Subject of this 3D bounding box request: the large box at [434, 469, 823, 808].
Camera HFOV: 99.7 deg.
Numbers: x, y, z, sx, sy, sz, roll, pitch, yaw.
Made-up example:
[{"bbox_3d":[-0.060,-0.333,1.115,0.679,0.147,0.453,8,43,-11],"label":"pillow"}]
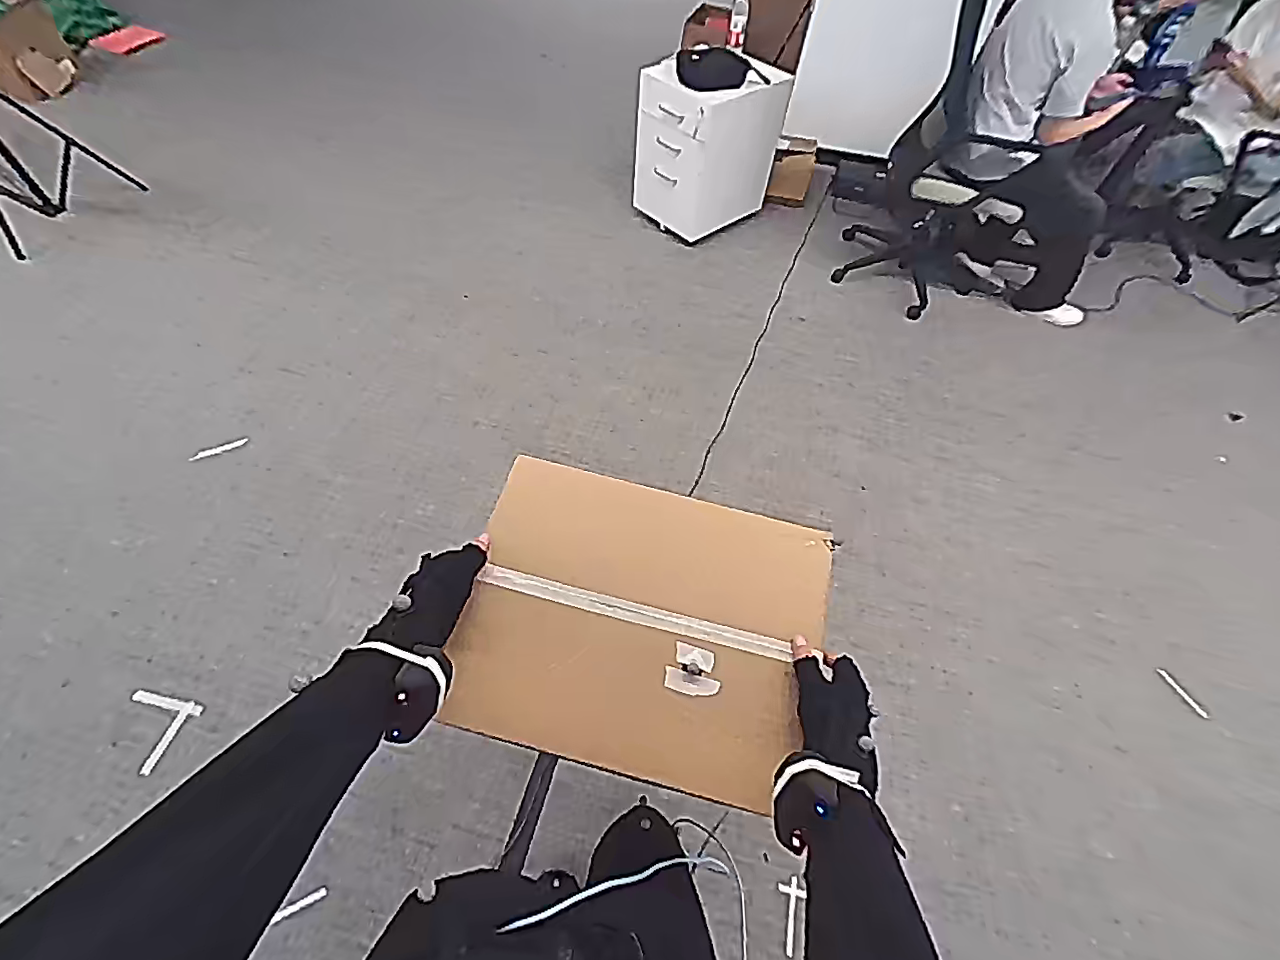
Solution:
[{"bbox_3d":[-0.006,0.227,0.758,0.408,0.320,0.320,15,63,2],"label":"large box"}]
